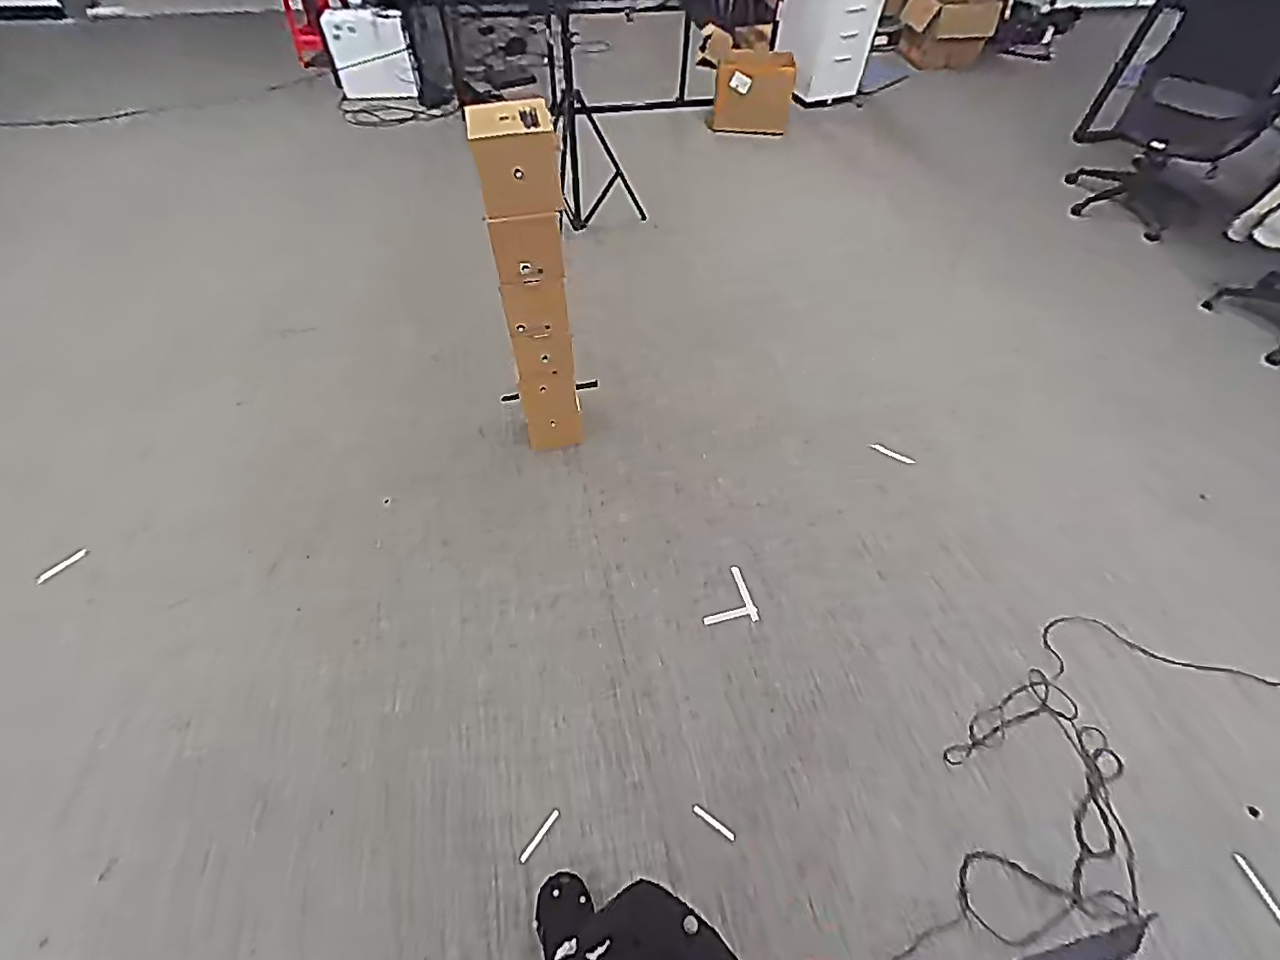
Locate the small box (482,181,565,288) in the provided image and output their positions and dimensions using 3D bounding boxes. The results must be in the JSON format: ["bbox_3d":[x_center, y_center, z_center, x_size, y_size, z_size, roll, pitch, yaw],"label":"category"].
[{"bbox_3d":[-0.284,-0.602,1.327,0.168,0.176,0.179,-12,57,-8],"label":"small box"}]

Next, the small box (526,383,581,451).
[{"bbox_3d":[-0.300,-0.220,1.857,0.179,0.176,0.168,-10,56,-9],"label":"small box"}]

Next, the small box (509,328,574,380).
[{"bbox_3d":[-0.290,-0.410,1.591,0.168,0.176,0.179,-9,56,-8],"label":"small box"}]

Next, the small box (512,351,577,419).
[{"bbox_3d":[-0.302,-0.311,1.721,0.179,0.176,0.168,-8,56,-7],"label":"small box"}]

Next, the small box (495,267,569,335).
[{"bbox_3d":[-0.290,-0.507,1.458,0.168,0.176,0.179,-10,55,-8],"label":"small box"}]
